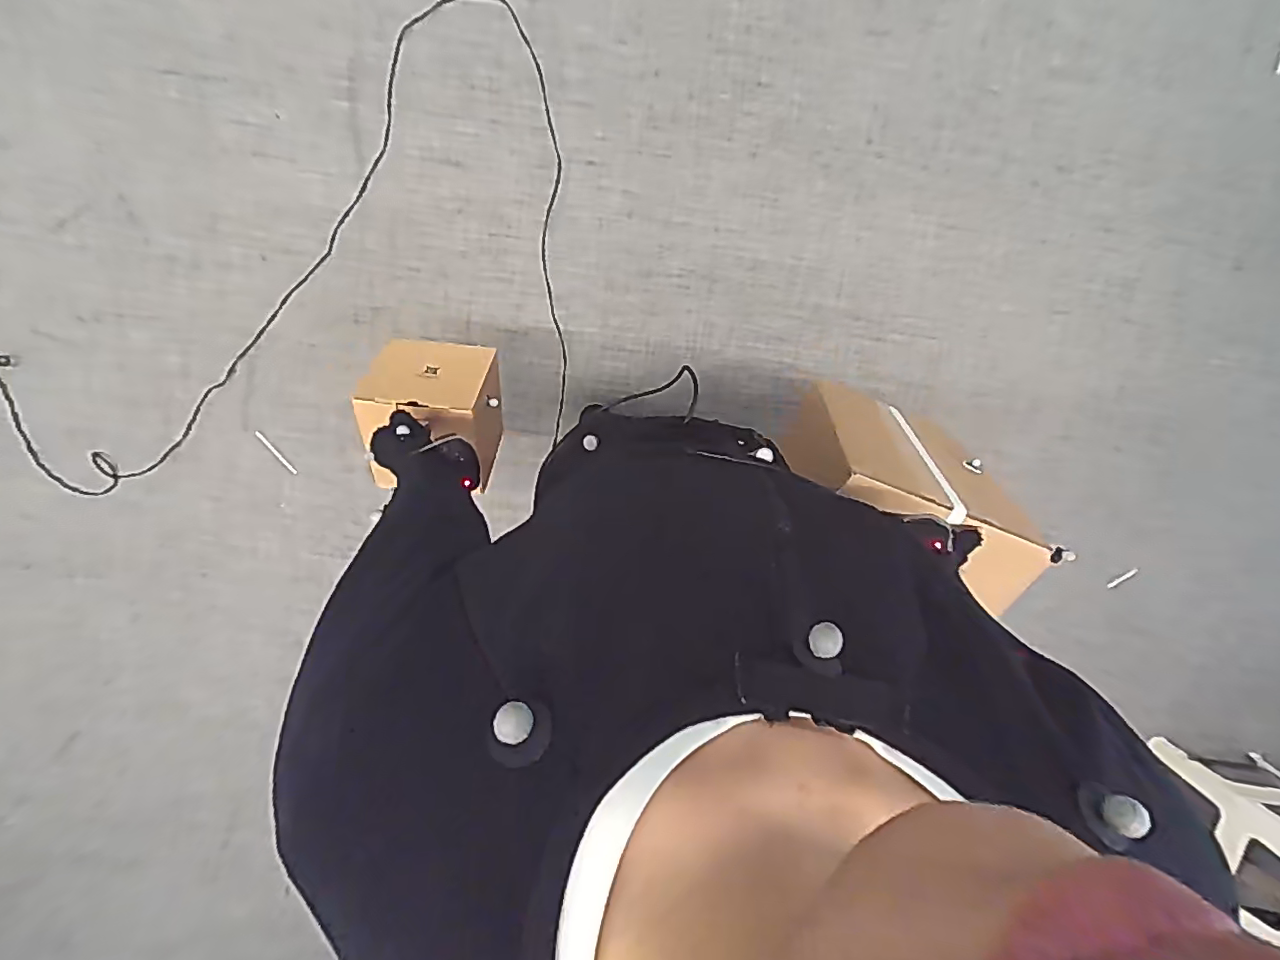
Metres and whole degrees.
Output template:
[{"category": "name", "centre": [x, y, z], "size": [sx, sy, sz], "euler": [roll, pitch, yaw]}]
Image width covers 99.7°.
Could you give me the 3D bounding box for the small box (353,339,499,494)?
[{"category": "small box", "centre": [-0.325, -0.102, 0.863], "size": [0.168, 0.179, 0.176], "euler": [5, 133, -4]}]
